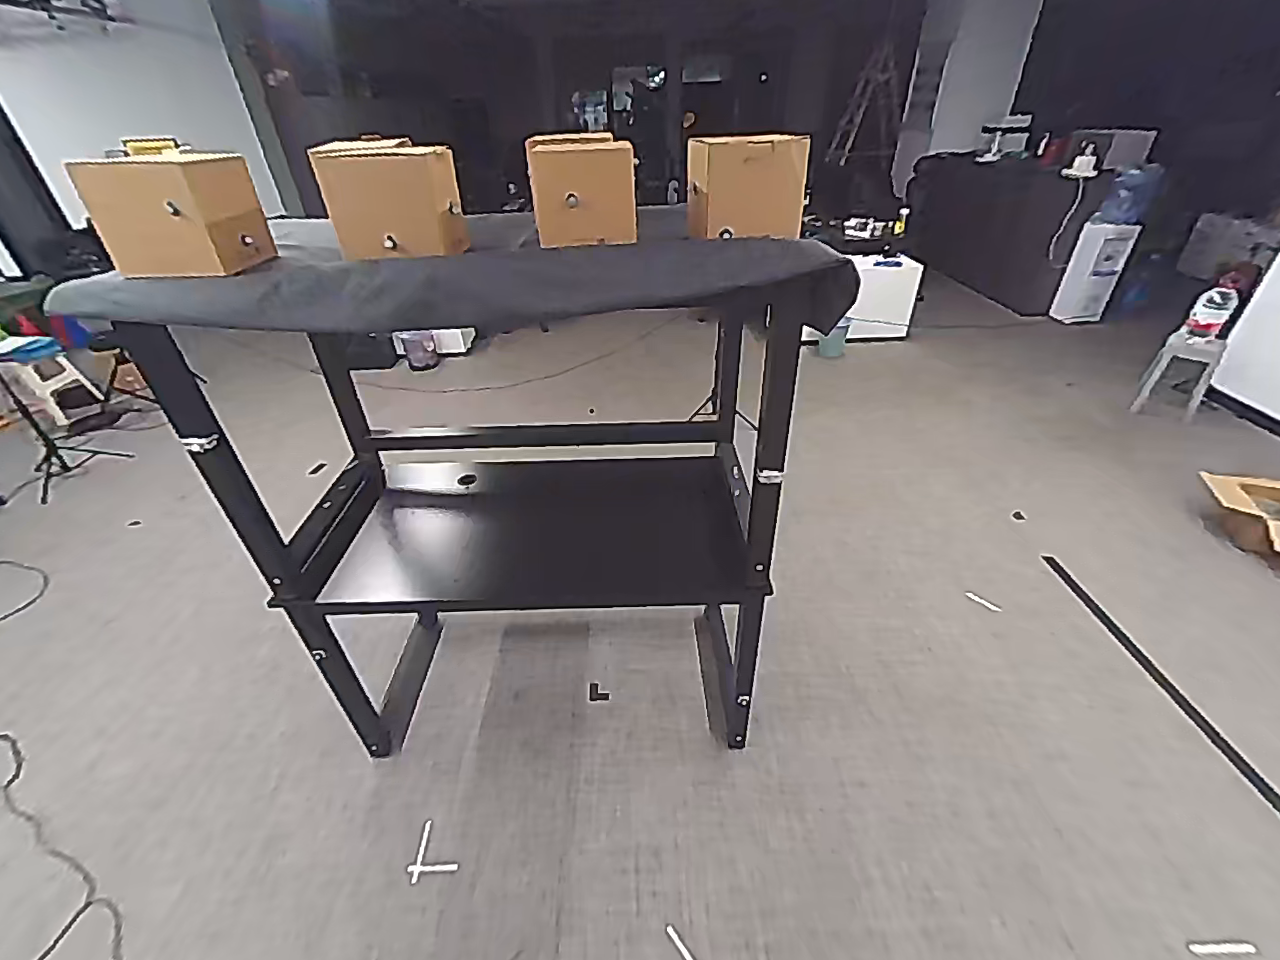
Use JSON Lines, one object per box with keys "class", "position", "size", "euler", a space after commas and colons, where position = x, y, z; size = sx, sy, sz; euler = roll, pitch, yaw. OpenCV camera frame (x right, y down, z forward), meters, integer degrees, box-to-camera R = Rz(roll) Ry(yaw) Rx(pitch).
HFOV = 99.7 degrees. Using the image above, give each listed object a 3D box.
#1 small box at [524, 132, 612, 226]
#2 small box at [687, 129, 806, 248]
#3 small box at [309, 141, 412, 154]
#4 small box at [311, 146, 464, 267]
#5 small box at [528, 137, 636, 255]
{"class": "small box", "position": [-0.146, -0.664, 1.197], "size": [0.179, 0.176, 0.168], "euler": [-2, 35, 0]}
{"class": "small box", "position": [0.179, -0.513, 0.955], "size": [0.168, 0.176, 0.179], "euler": [-6, 33, -4]}
{"class": "small box", "position": [-0.579, -0.634, 1.178], "size": [0.168, 0.176, 0.179], "euler": [-7, 35, -5]}
{"class": "small box", "position": [-0.418, -0.474, 0.935], "size": [0.179, 0.176, 0.168], "euler": [-2, 33, -1]}
{"class": "small box", "position": [-0.096, -0.503, 0.963], "size": [0.168, 0.176, 0.179], "euler": [-4, 34, -2]}
